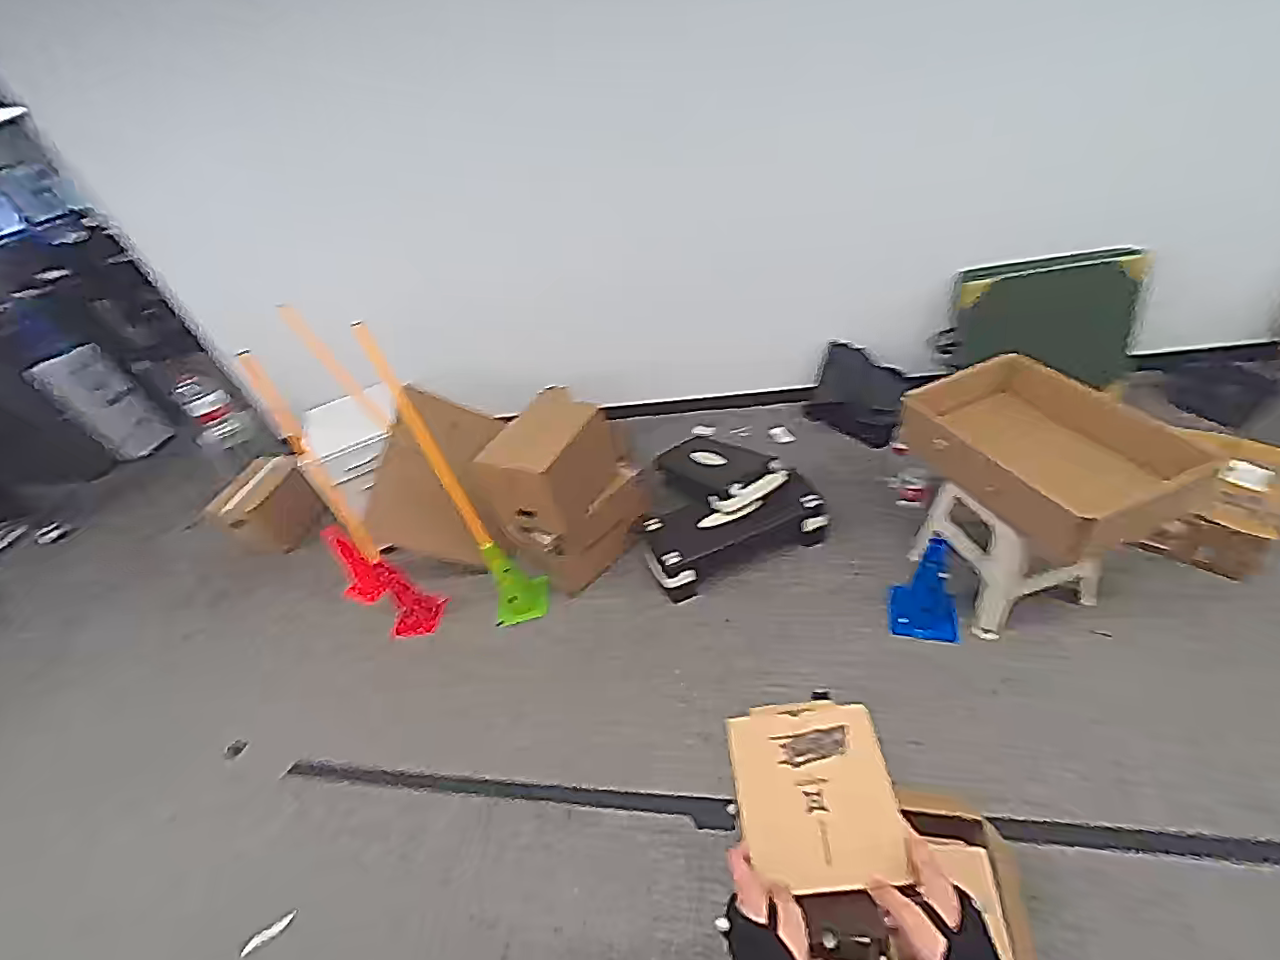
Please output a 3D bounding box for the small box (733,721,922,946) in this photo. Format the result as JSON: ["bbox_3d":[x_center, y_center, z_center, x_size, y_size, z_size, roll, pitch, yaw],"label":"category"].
[{"bbox_3d":[0.207,0.421,0.650,0.168,0.176,0.179,-7,36,4],"label":"small box"}]
